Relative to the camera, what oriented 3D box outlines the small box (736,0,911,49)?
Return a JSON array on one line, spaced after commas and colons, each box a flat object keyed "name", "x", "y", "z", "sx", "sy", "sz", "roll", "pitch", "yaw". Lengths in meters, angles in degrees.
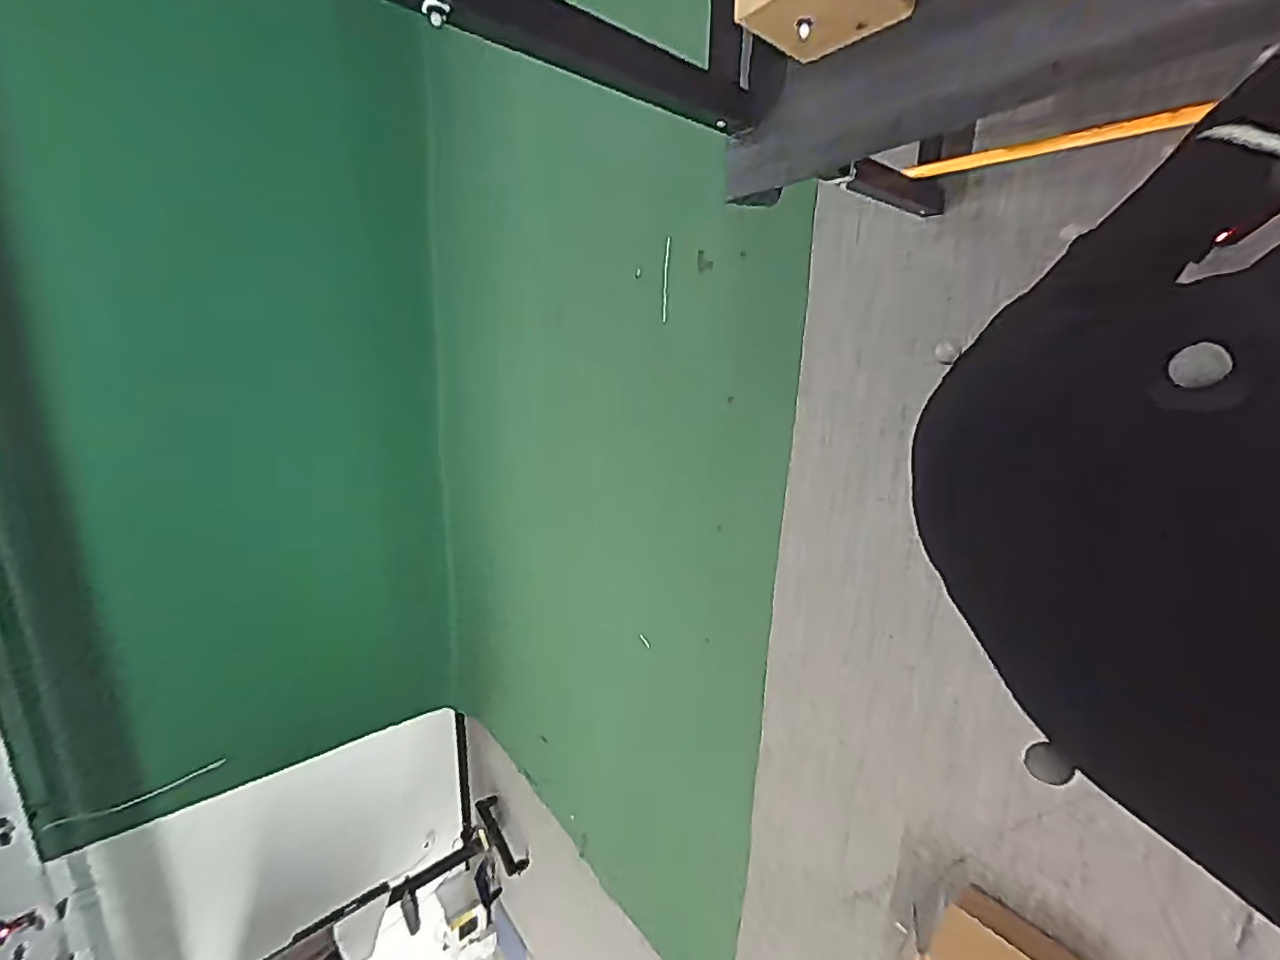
[{"name": "small box", "x": 0.243, "y": -0.695, "z": 0.691, "sx": 0.168, "sy": 0.176, "sz": 0.179, "roll": 15, "pitch": 109, "yaw": 48}]
